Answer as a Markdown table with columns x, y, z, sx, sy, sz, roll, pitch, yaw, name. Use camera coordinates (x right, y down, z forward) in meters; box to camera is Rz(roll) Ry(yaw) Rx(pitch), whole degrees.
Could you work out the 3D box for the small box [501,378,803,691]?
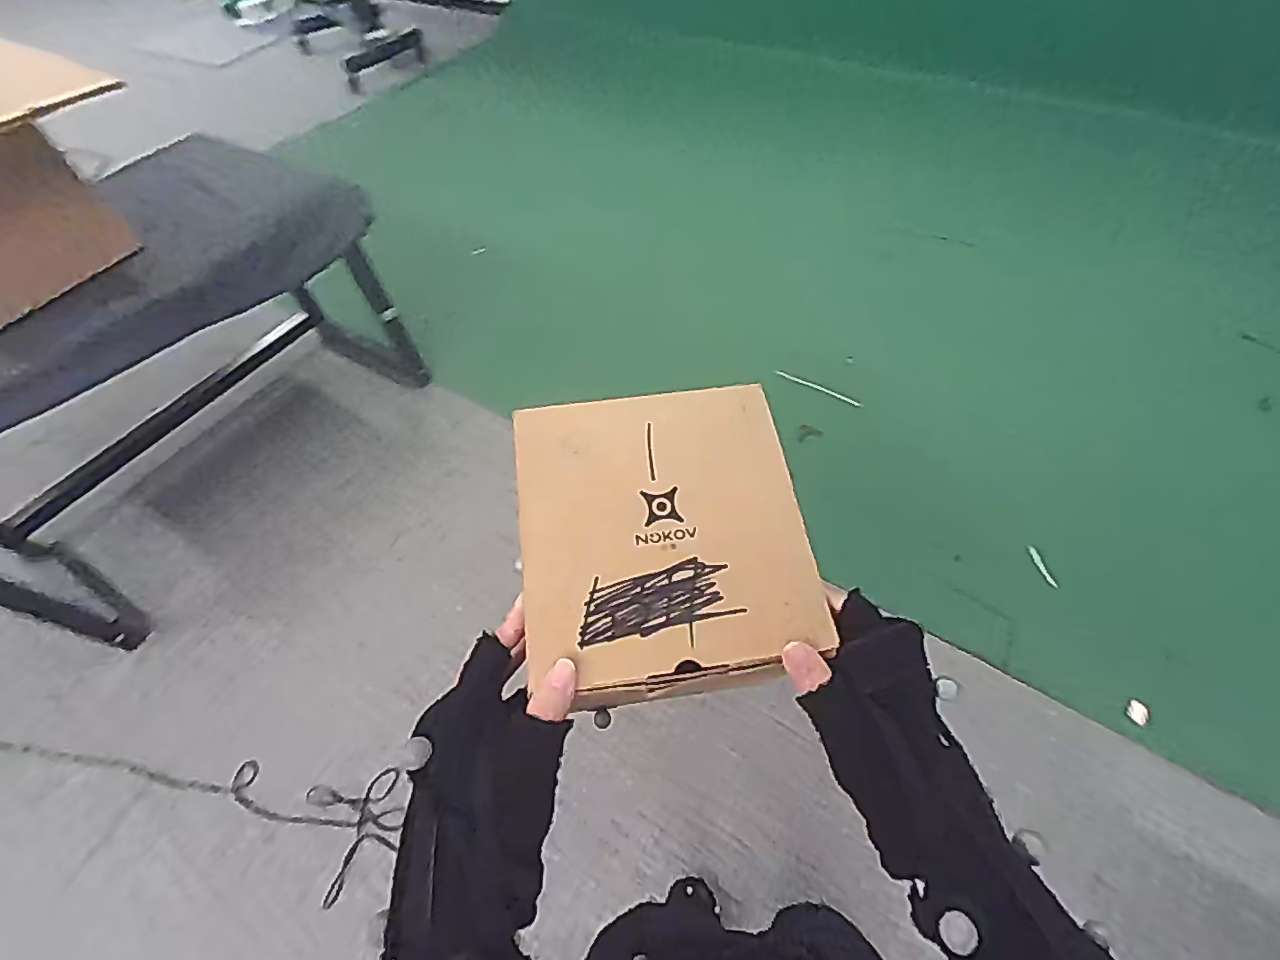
| x | y | z | sx | sy | sz | roll | pitch | yaw | name |
| --- | --- | --- | --- | --- | --- | --- | --- | --- | --- |
| -0.001 | 0.052 | 0.399 | 0.168 | 0.176 | 0.179 | -7 | 63 | -5 | small box |
